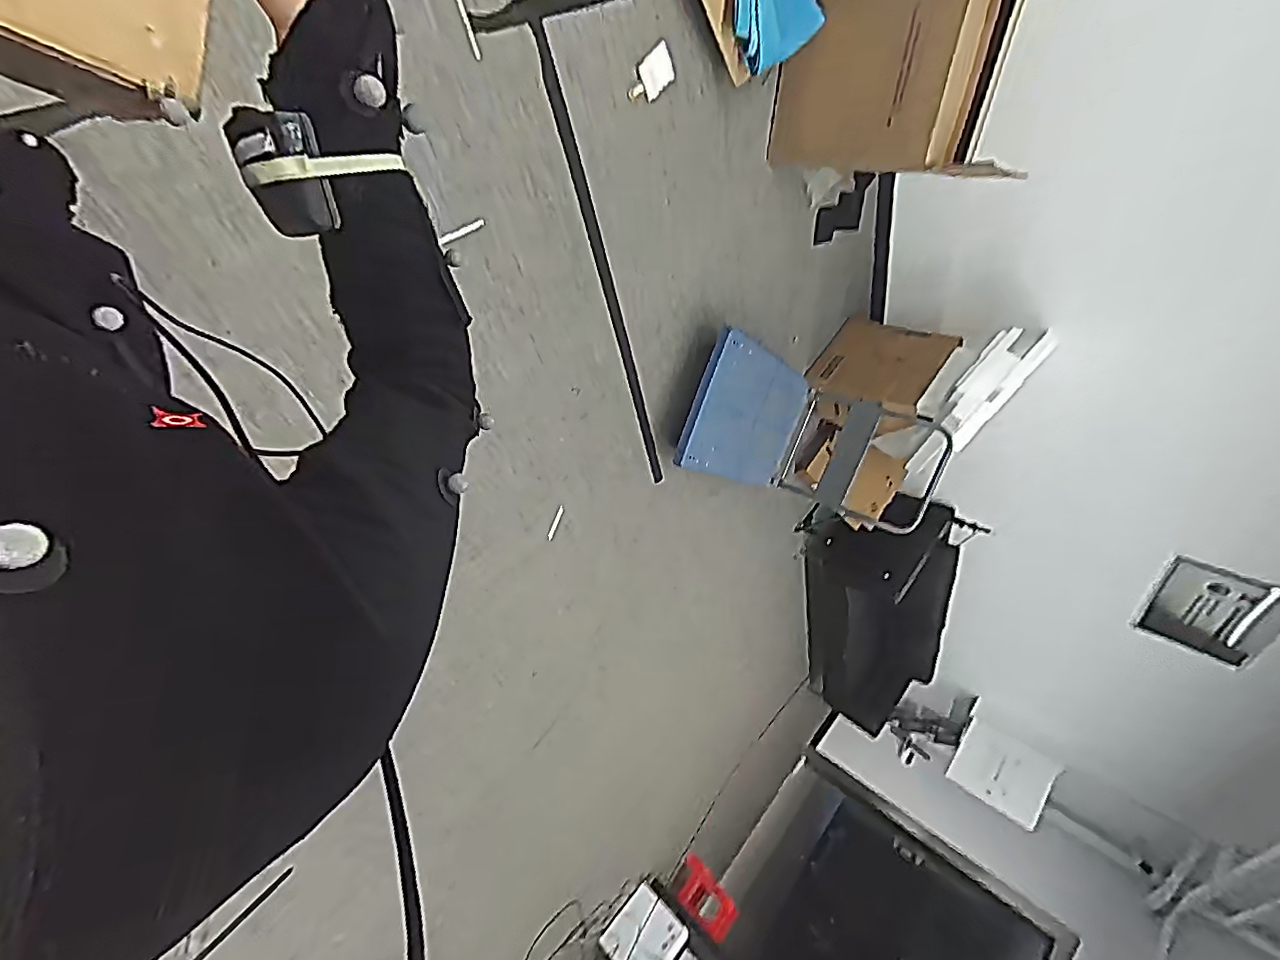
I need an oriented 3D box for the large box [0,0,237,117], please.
[{"bbox_3d":[-0.374,-0.440,0.215,0.320,0.320,0.408,0,114,-50],"label":"large box"}]
